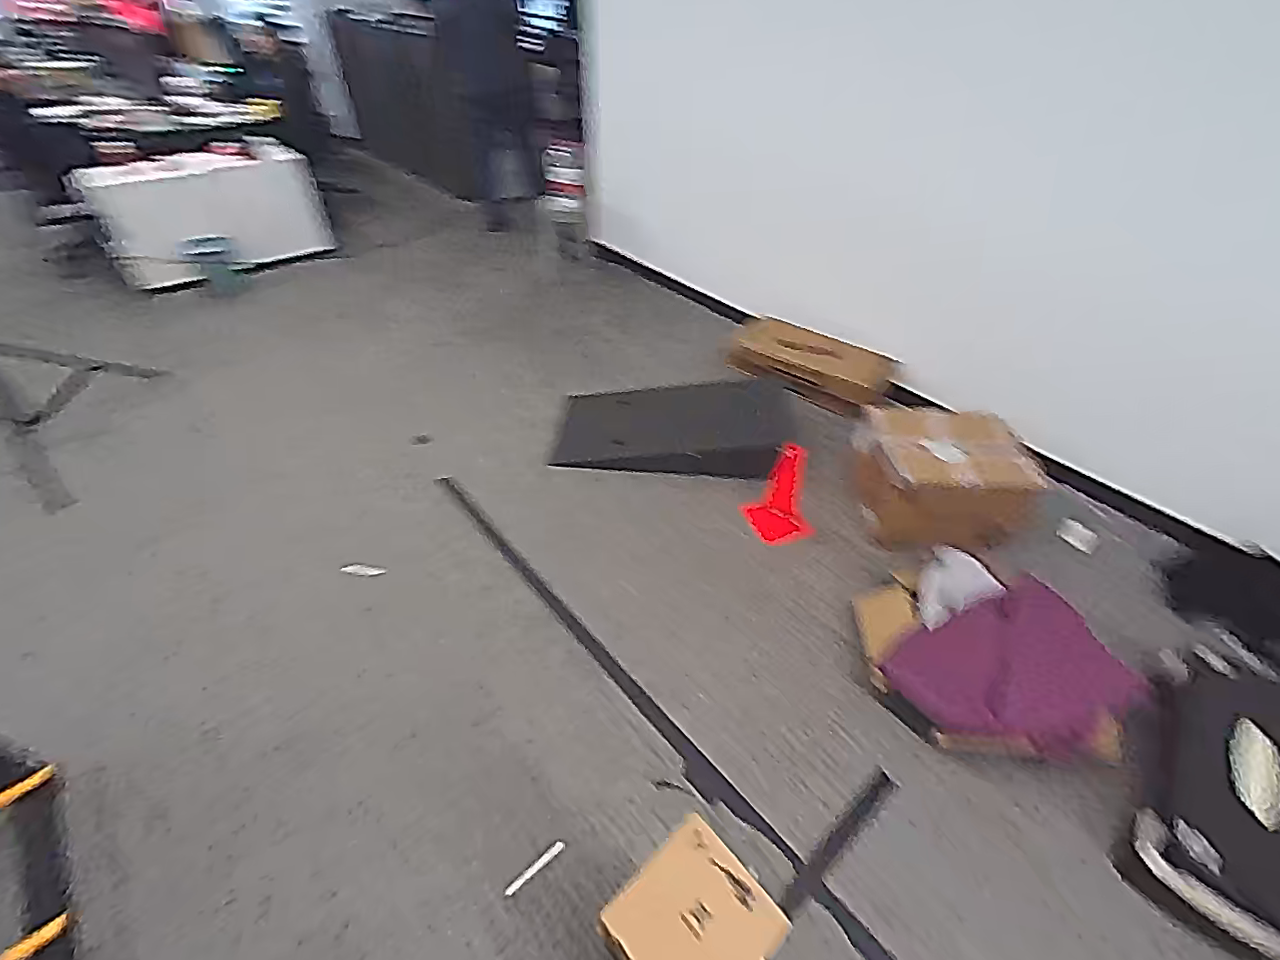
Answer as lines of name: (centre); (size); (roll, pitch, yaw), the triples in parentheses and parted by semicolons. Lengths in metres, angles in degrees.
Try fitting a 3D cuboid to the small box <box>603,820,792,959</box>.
small box: (0.072, 0.606, 0.715); (0.179, 0.176, 0.168); (-31, 52, -29)
